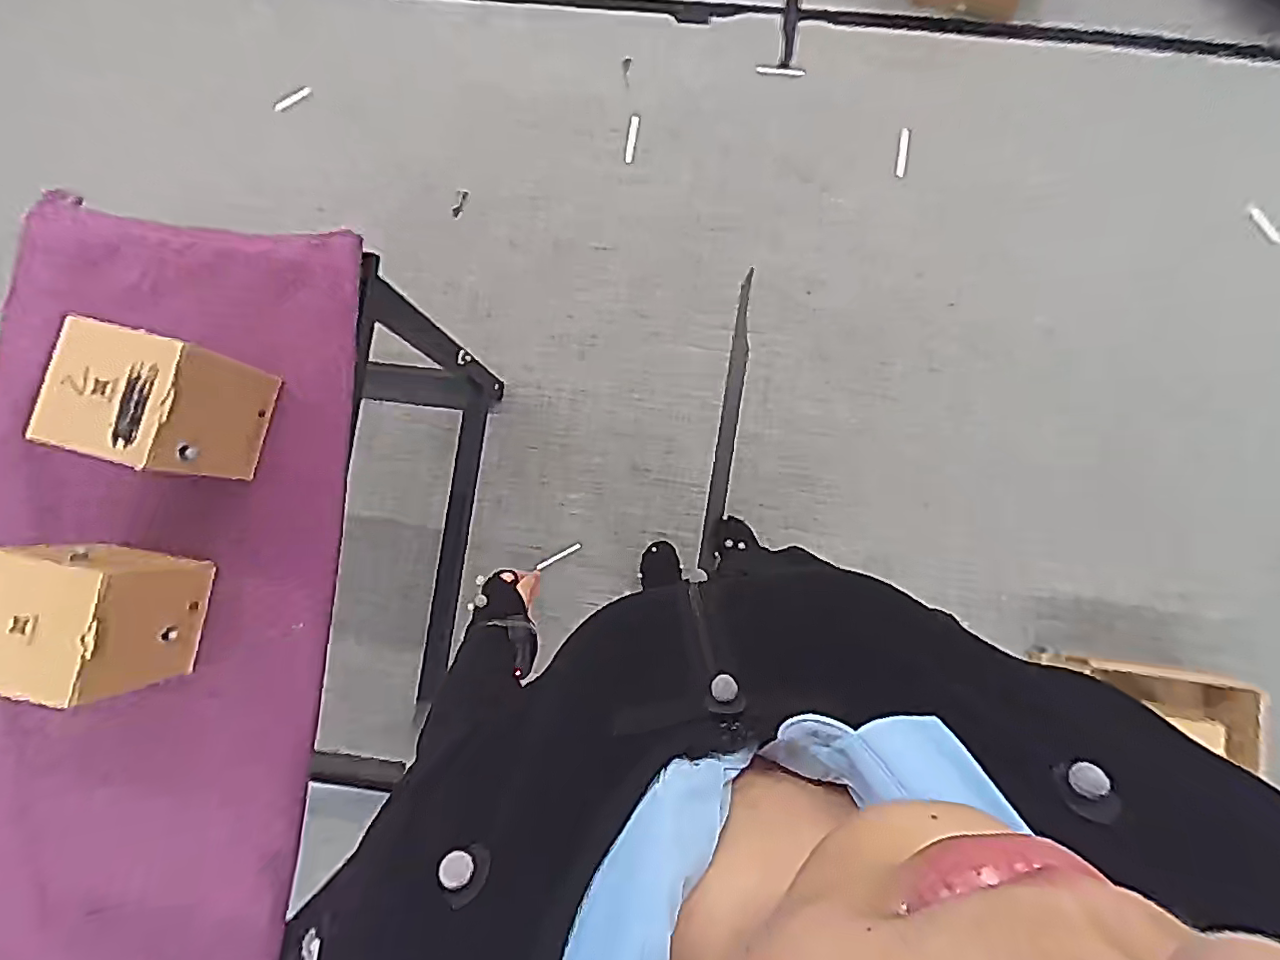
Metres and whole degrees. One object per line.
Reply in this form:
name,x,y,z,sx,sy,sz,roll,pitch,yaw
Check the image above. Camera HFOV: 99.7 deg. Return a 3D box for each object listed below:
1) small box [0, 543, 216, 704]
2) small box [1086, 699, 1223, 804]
small box,-0.741,0.182,0.736,0.179,0.176,0.168,10,85,4
small box,1.208,0.633,1.282,0.179,0.176,0.168,6,86,3
